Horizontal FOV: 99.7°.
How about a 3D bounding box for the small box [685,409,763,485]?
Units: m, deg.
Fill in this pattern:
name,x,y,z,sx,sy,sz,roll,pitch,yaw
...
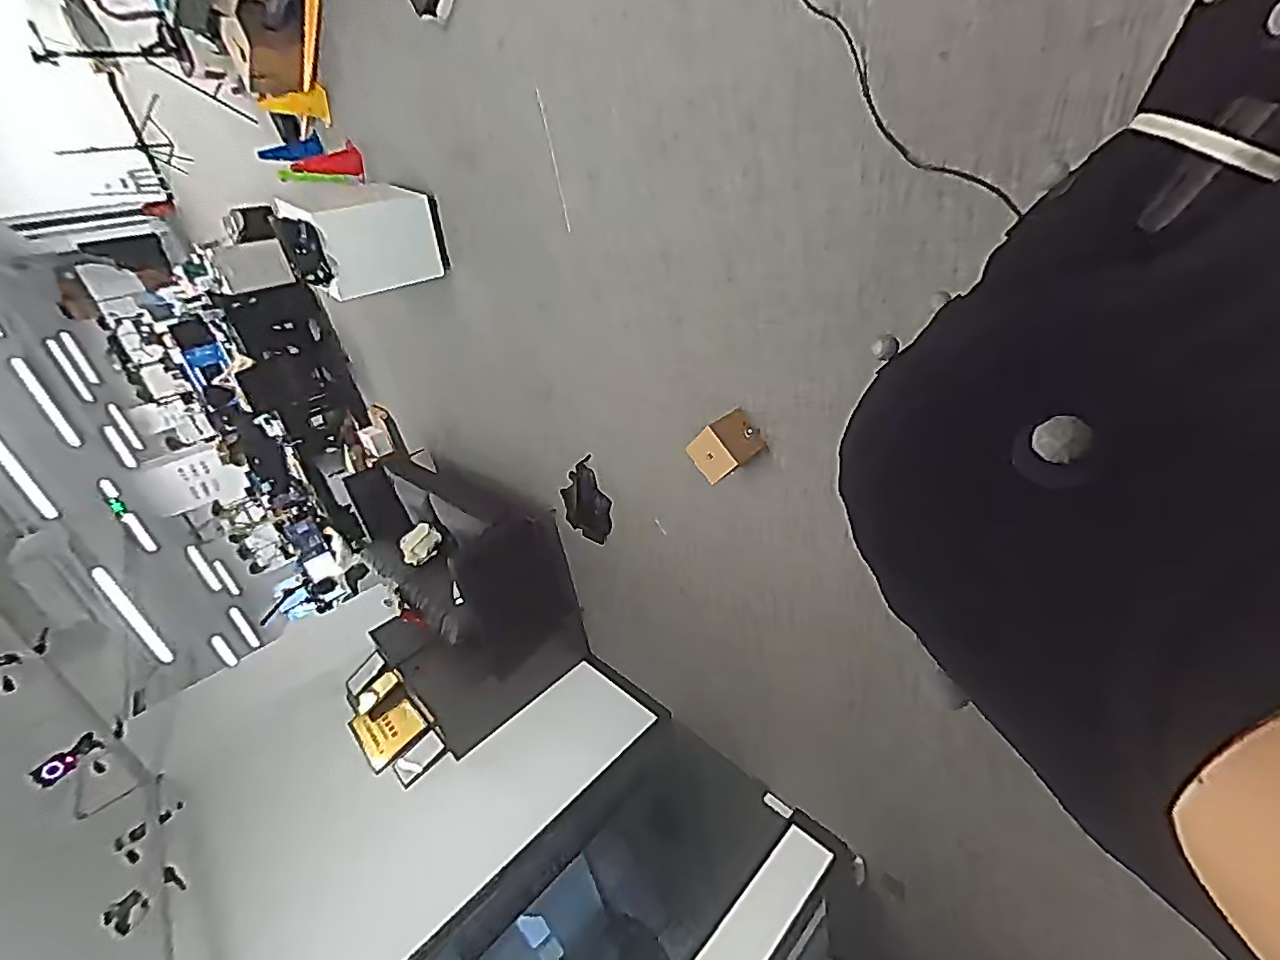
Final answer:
name,x,y,z,sx,sy,sz,roll,pitch,yaw
small box,0.294,-0.116,1.876,0.168,0.176,0.179,53,146,7
